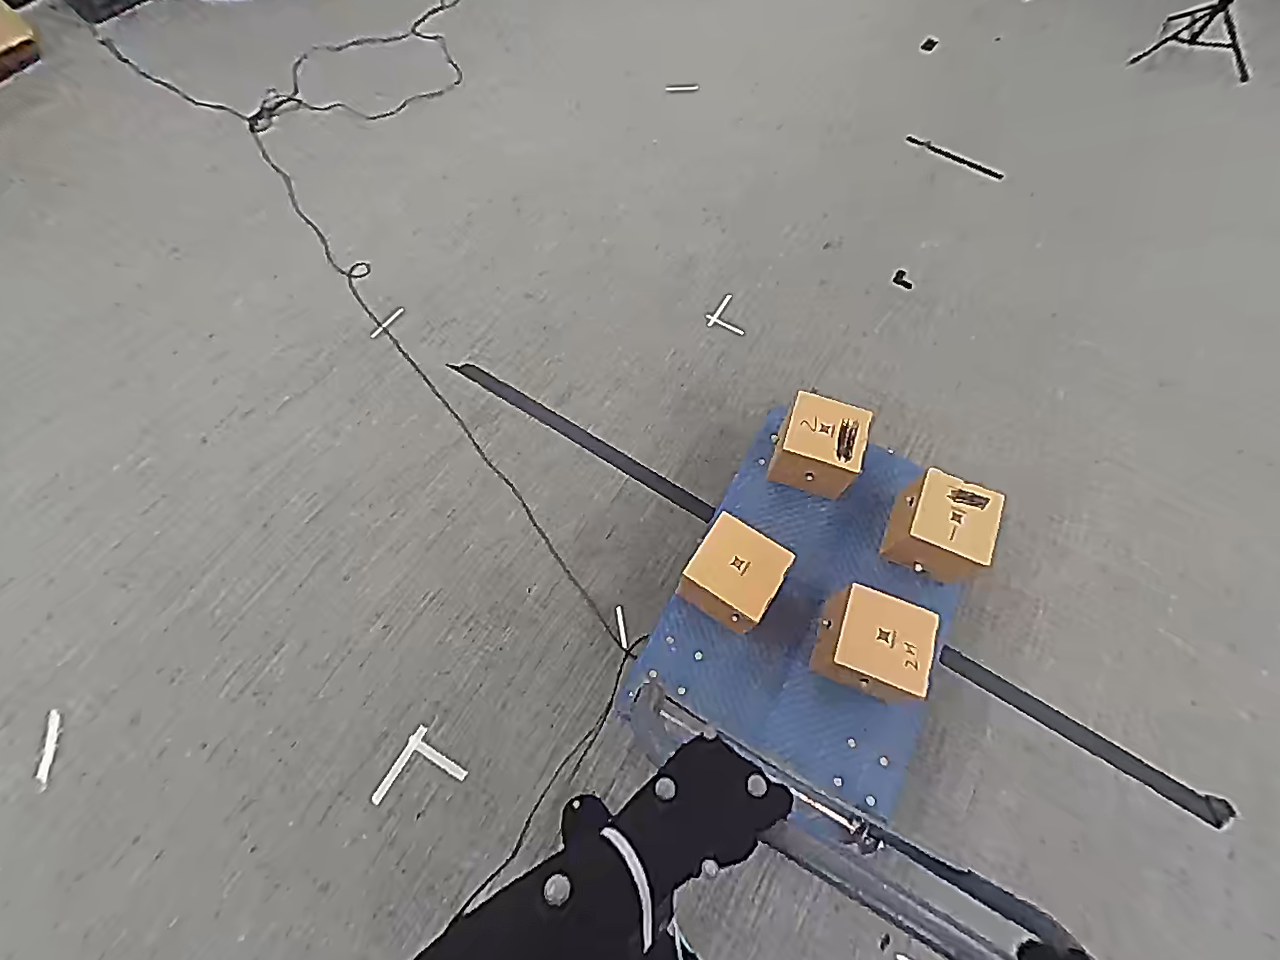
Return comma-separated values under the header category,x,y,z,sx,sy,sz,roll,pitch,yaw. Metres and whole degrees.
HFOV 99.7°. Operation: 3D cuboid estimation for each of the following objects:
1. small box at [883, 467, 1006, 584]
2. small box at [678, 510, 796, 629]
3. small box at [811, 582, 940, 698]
category,x,y,z,sx,sy,sz,roll,pitch,yaw
small box,0.667,0.106,1.202,0.168,0.176,0.179,24,69,10
small box,0.198,0.199,1.156,0.179,0.176,0.168,33,69,11
small box,0.469,0.333,1.101,0.179,0.176,0.168,22,68,9
